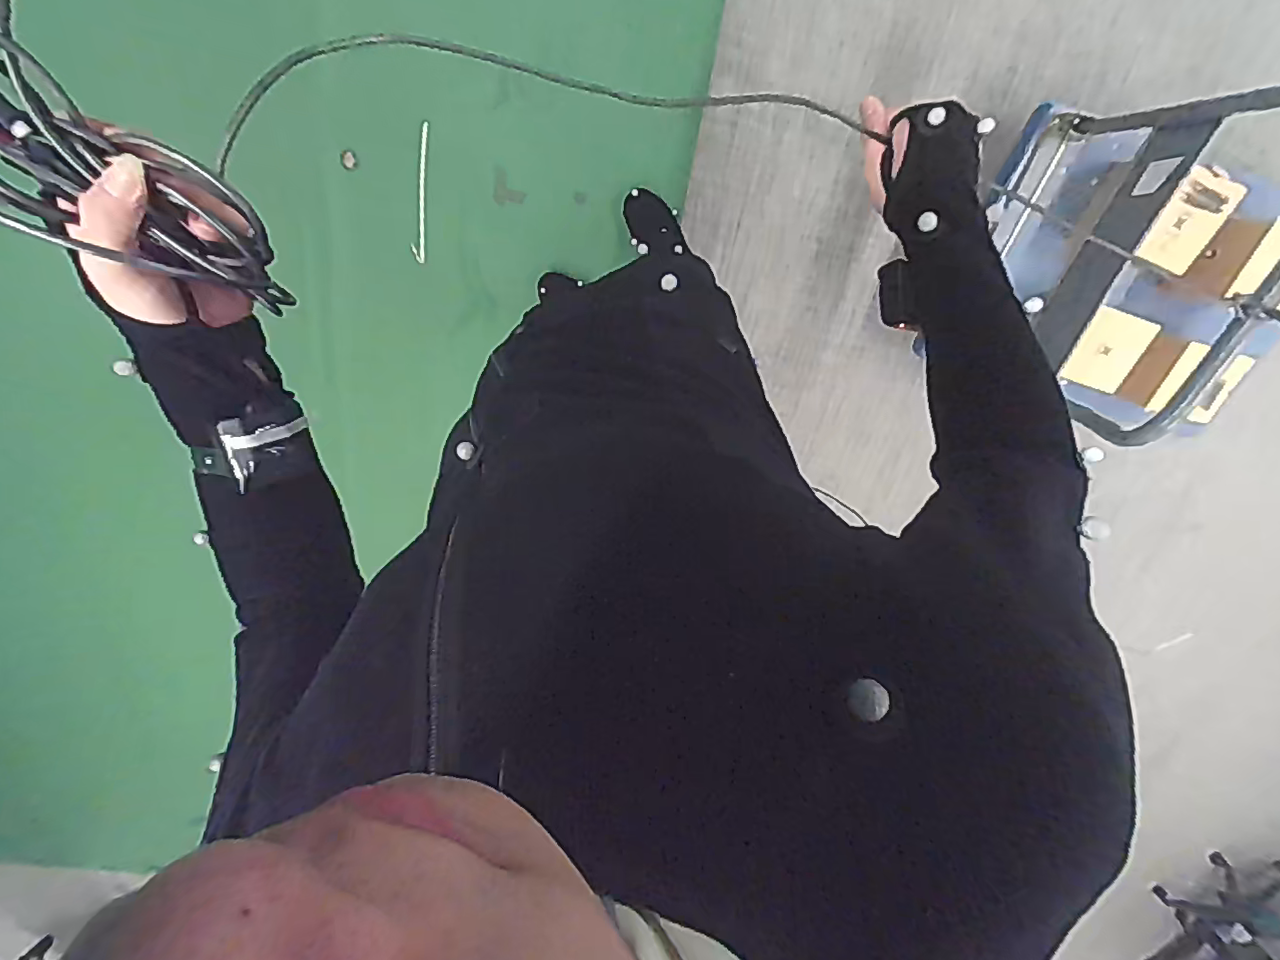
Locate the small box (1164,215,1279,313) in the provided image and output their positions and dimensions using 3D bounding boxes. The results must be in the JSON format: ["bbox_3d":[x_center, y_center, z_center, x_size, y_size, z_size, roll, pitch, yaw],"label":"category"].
[{"bbox_3d":[1.353,-0.484,1.206,0.179,0.176,0.168,10,118,-6],"label":"small box"}]

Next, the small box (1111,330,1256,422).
[{"bbox_3d":[1.295,-0.262,1.320,0.179,0.176,0.168,12,116,-6],"label":"small box"}]

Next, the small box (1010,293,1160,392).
[{"bbox_3d":[1.042,-0.332,1.284,0.179,0.176,0.168,15,116,-8],"label":"small box"}]
